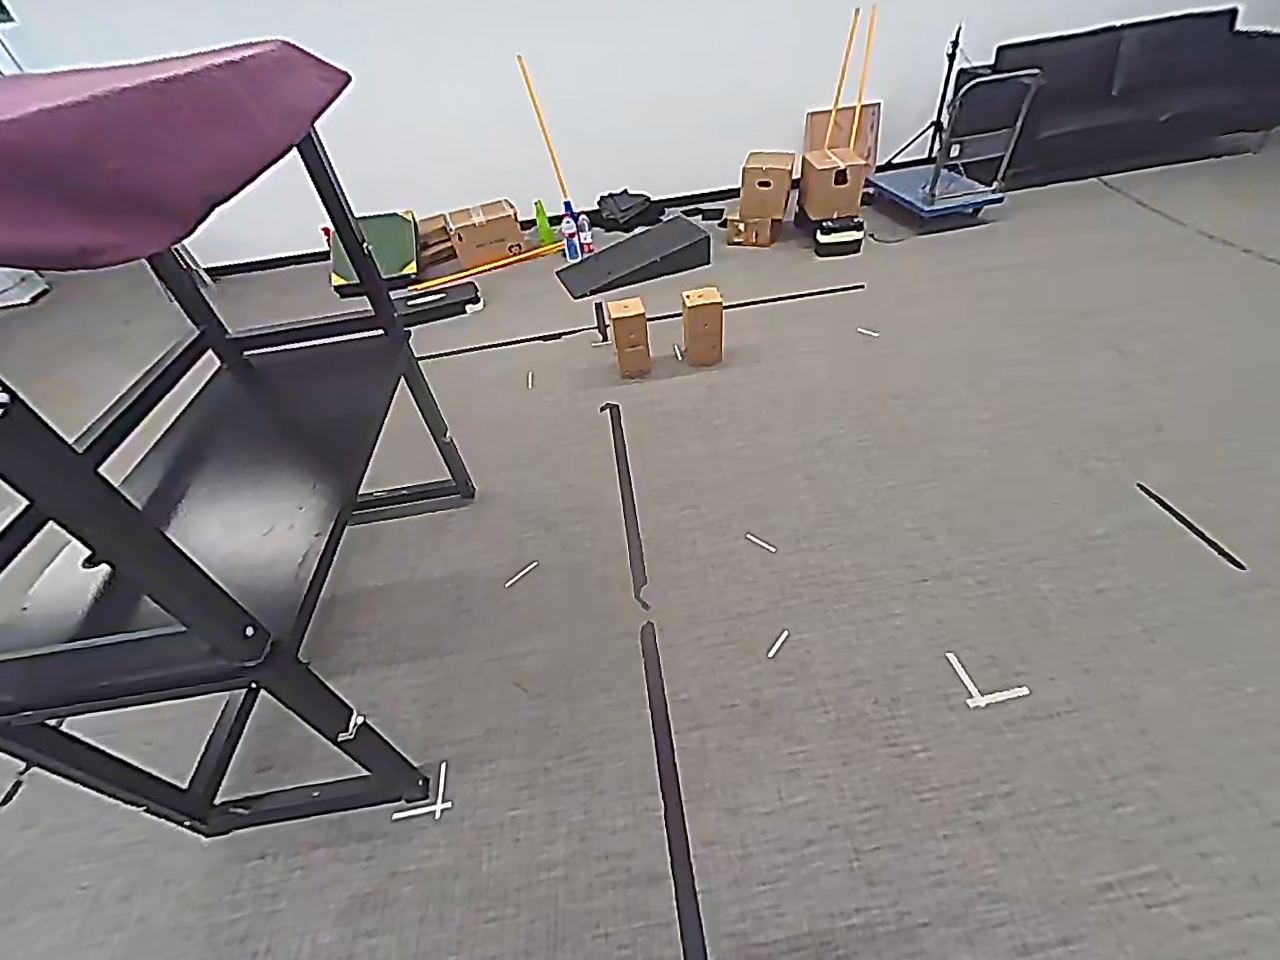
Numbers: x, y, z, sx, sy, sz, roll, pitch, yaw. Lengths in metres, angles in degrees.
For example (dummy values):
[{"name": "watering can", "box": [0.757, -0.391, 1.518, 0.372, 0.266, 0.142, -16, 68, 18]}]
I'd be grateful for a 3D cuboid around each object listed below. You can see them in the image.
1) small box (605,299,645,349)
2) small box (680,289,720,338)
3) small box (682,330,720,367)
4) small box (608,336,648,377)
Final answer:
[{"name": "small box", "box": [-0.073, -0.770, 2.672, 0.168, 0.176, 0.179, -12, 43, -4]}, {"name": "small box", "box": [0.296, -0.826, 2.686, 0.179, 0.176, 0.168, -8, 42, -1]}, {"name": "small box", "box": [0.313, -0.706, 2.796, 0.179, 0.176, 0.168, -8, 43, 0]}, {"name": "small box", "box": [-0.058, -0.645, 2.779, 0.168, 0.176, 0.179, -13, 43, -6]}]
